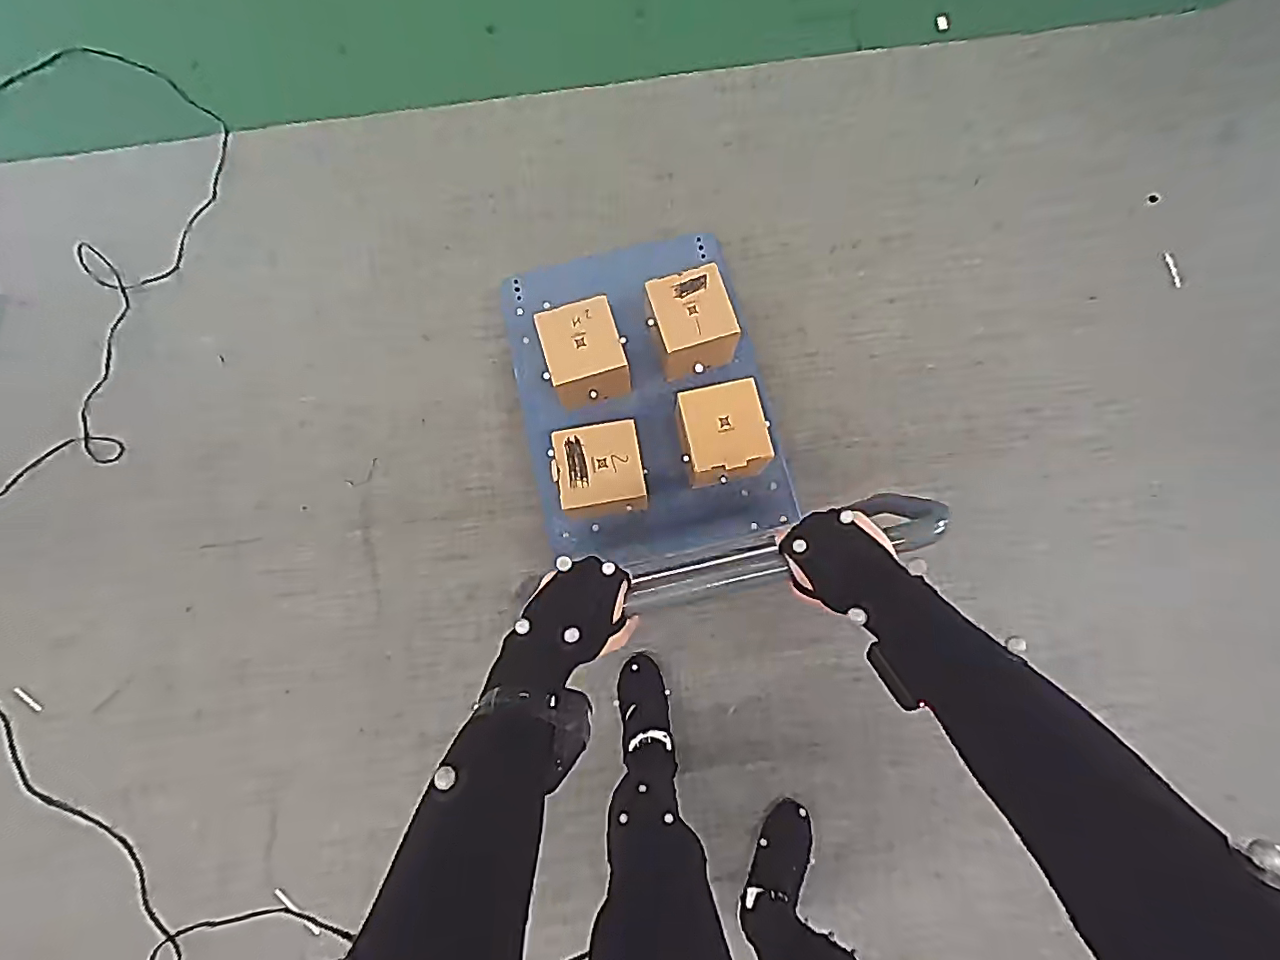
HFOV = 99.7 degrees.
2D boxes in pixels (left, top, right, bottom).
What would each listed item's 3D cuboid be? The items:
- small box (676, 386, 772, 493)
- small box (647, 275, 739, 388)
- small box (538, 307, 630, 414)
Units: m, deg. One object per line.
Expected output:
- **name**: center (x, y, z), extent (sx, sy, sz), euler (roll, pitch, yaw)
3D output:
- **small box**: center (0.179, -0.085, 1.209), extent (0.168, 0.176, 0.179), euler (-12, 78, -1)
- **small box**: center (0.116, -0.341, 1.267), extent (0.168, 0.176, 0.179), euler (-17, 79, -1)
- **small box**: center (-0.124, -0.267, 1.258), extent (0.168, 0.176, 0.179), euler (-17, 77, -3)
